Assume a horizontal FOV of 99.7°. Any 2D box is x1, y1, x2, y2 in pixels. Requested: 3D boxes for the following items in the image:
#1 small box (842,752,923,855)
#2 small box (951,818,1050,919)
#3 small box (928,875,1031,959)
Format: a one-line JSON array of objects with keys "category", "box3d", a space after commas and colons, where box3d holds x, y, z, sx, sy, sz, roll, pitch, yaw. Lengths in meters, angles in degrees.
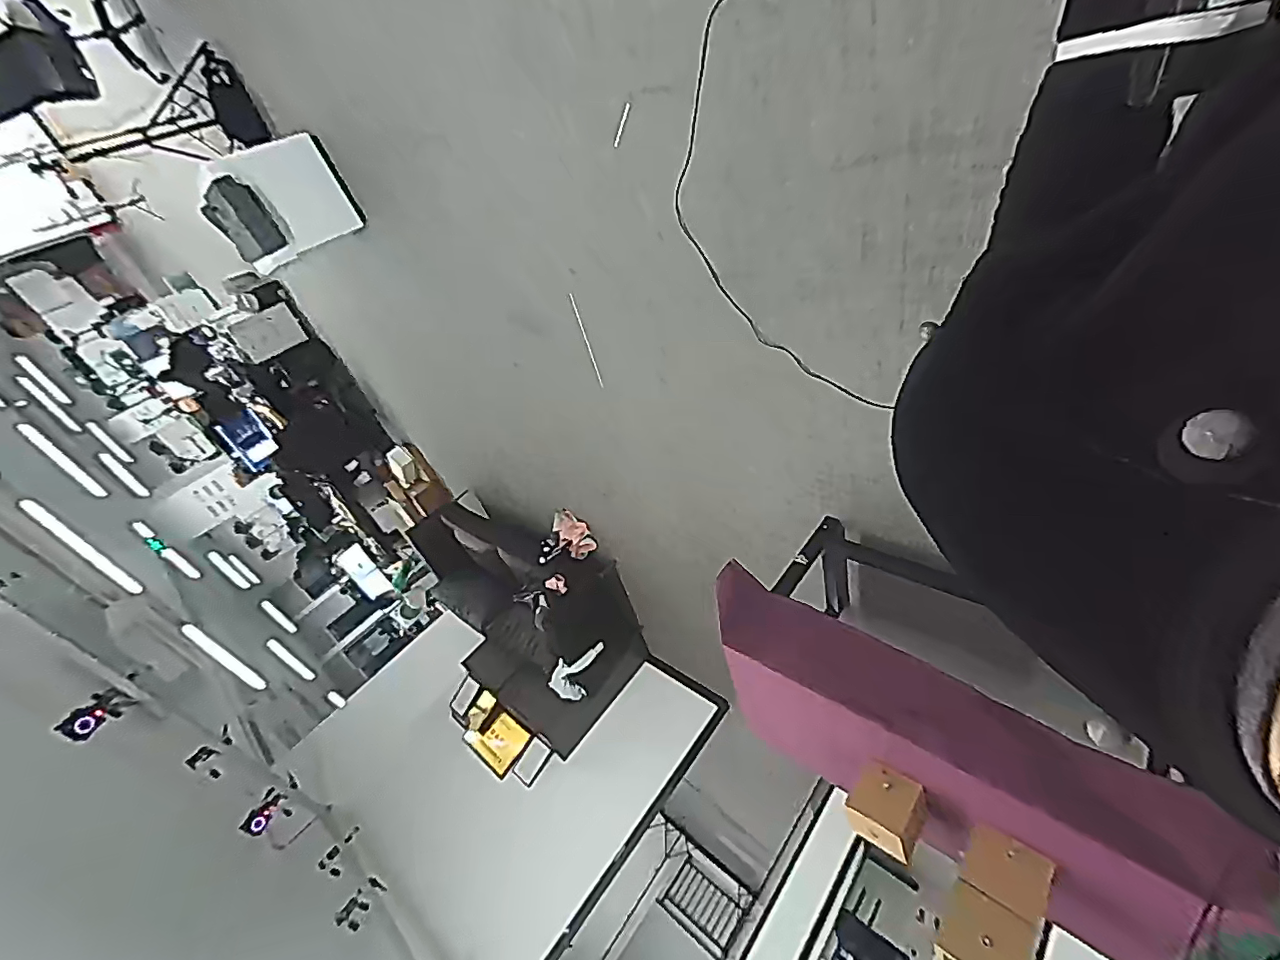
[{"category": "small box", "box3d": [0.736, 0.968, 1.631, 0.168, 0.176, 0.179, 12, 135, 45]}, {"category": "small box", "box3d": [0.951, 1.036, 1.433, 0.179, 0.176, 0.168, 18, 140, 42]}, {"category": "small box", "box3d": [0.846, 1.135, 1.354, 0.179, 0.176, 0.168, 16, 139, 41]}]
